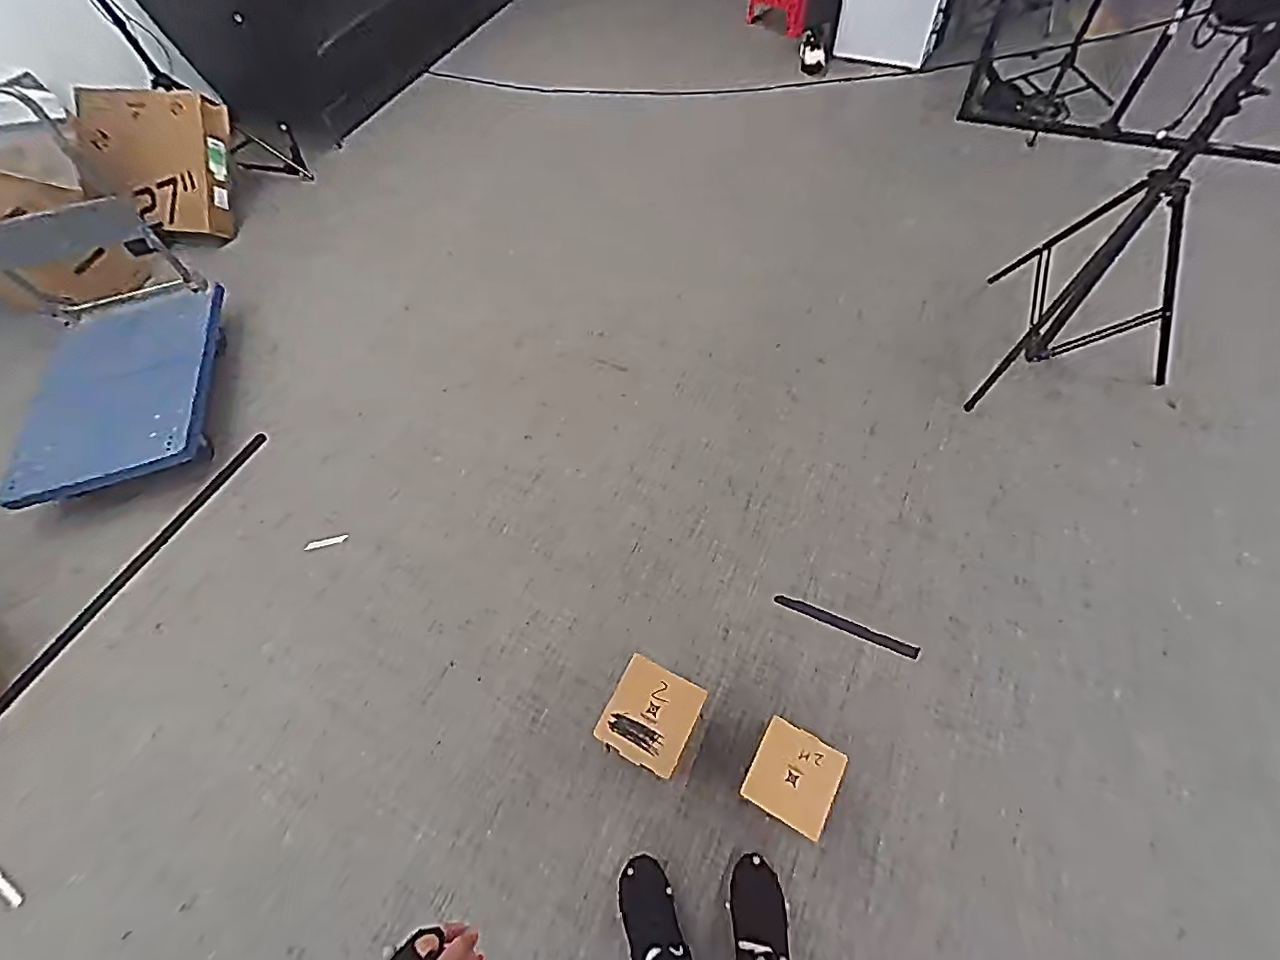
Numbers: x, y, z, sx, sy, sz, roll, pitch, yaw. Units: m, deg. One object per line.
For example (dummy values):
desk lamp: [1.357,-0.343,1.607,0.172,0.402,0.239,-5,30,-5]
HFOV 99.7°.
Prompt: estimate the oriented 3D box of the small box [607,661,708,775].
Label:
small box: [0.045,0.552,1.248,0.168,0.176,0.179,24,66,19]

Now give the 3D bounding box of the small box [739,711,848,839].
small box: [0.322,0.632,1.165,0.168,0.176,0.179,25,65,19]
